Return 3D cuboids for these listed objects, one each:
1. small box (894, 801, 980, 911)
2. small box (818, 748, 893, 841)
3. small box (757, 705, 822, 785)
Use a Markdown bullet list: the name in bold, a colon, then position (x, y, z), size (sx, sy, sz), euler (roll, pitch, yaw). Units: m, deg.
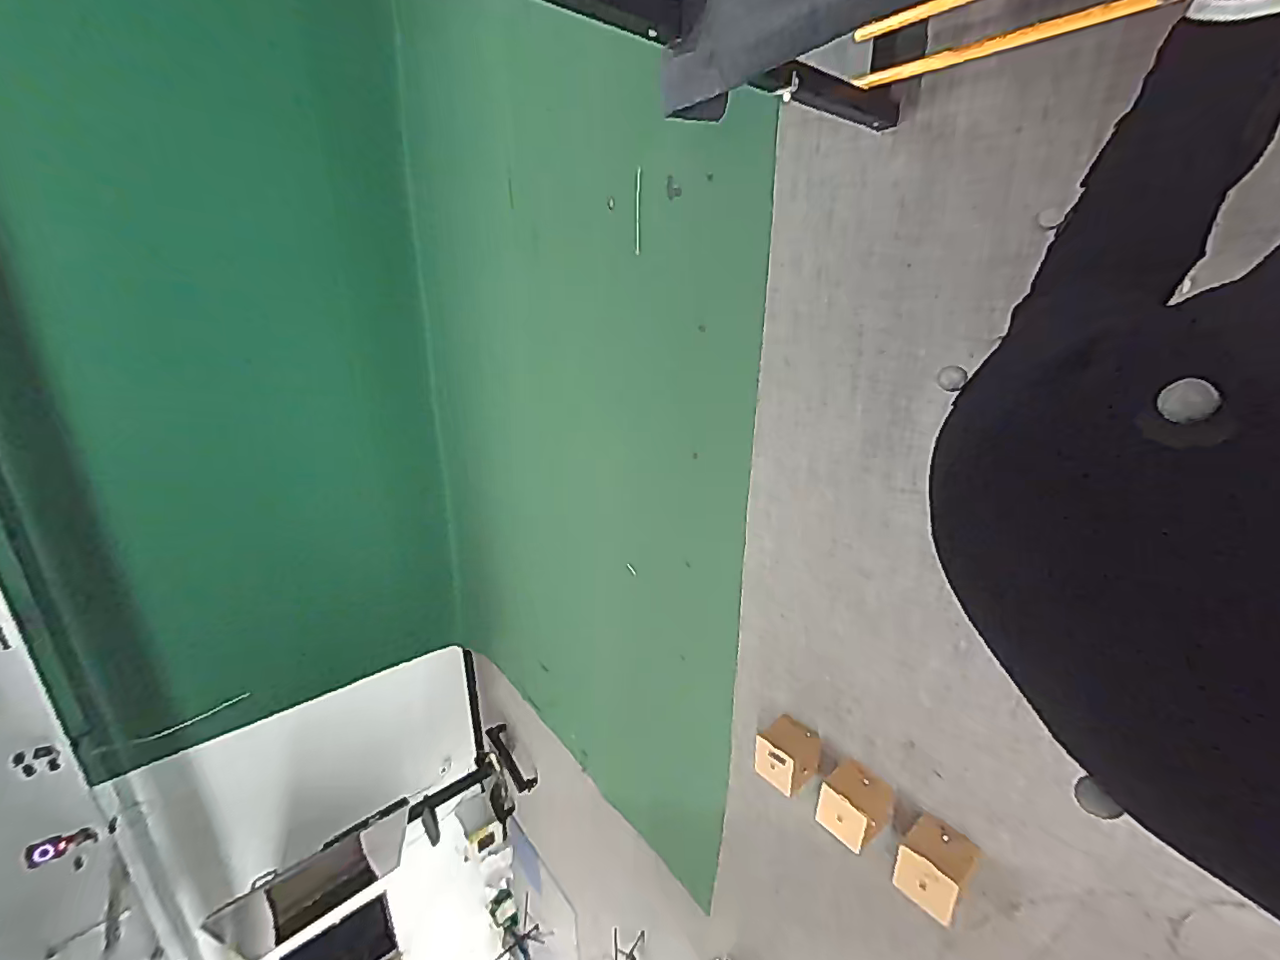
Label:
- **small box**: position (0.900, 1.131, 1.639), size (0.168, 0.176, 0.179), euler (22, 118, 46)
- **small box**: position (0.733, 1.060, 1.836), size (0.168, 0.176, 0.179), euler (25, 121, 46)
- **small box**: position (0.563, 0.988, 2.031), size (0.168, 0.176, 0.179), euler (21, 119, 48)
